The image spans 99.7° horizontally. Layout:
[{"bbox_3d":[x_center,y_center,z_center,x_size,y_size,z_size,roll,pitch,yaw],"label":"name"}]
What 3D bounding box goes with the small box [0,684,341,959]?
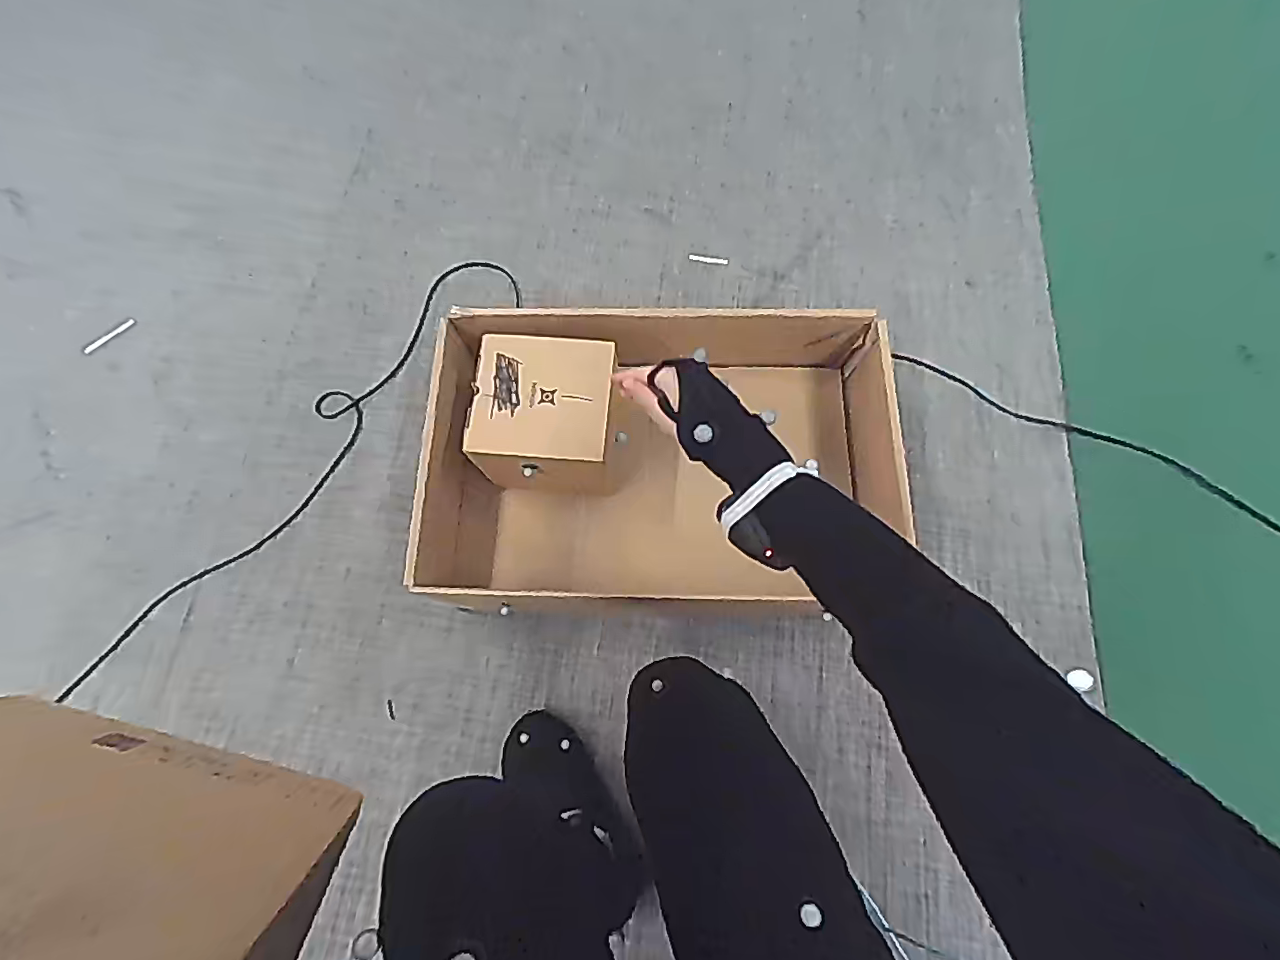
[{"bbox_3d":[-0.218,0.180,0.150,0.168,0.176,0.179,22,76,-8],"label":"small box"}]
